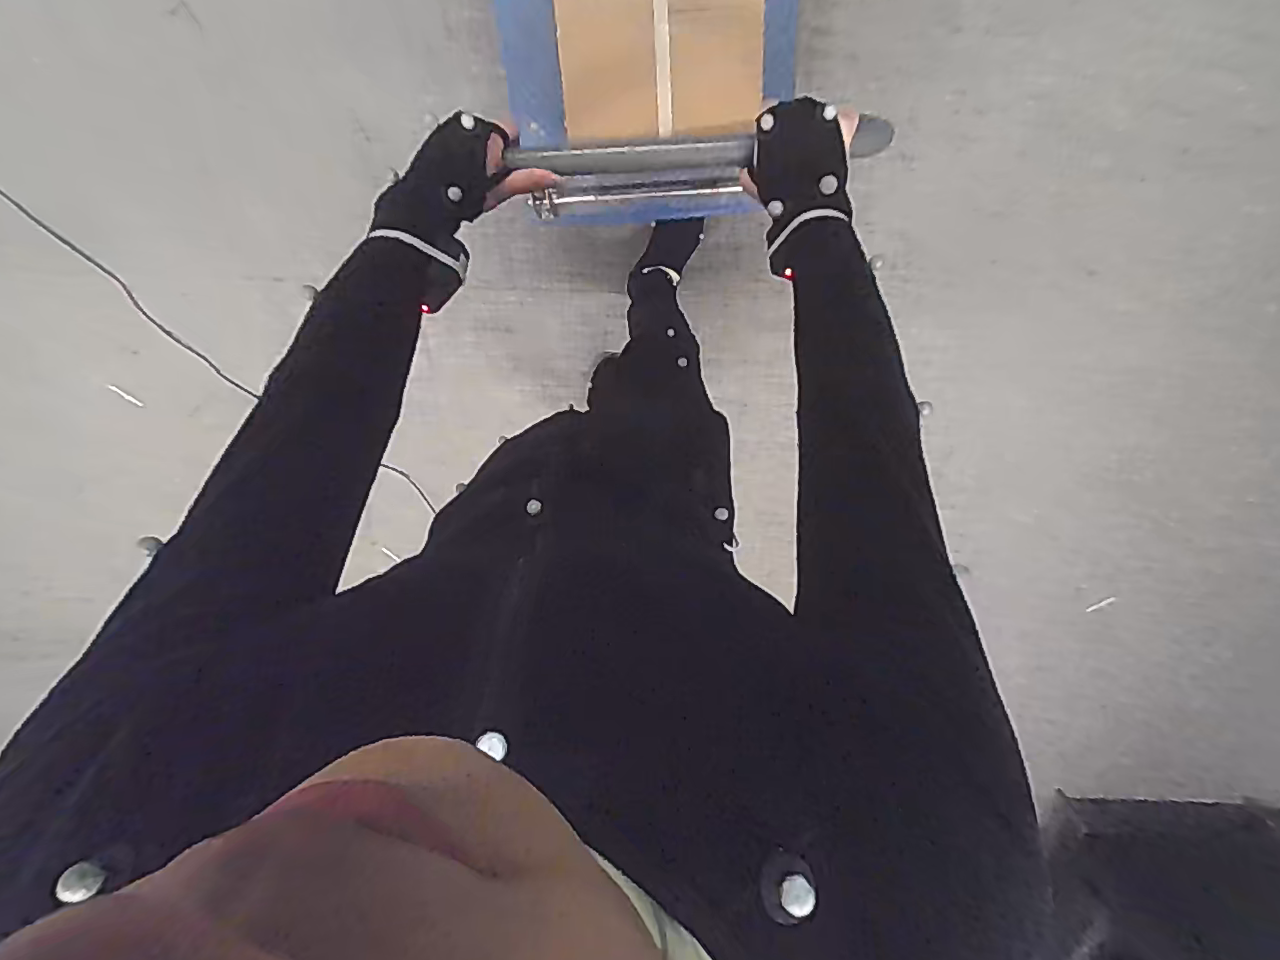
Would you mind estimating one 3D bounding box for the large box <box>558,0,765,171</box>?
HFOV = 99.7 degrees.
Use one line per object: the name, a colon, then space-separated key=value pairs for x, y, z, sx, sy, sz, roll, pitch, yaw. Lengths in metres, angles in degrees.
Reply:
large box: x=0.036 y=-0.793 z=0.939 sx=0.320 sy=0.320 sz=0.408 roll=-3 pitch=115 yaw=3
